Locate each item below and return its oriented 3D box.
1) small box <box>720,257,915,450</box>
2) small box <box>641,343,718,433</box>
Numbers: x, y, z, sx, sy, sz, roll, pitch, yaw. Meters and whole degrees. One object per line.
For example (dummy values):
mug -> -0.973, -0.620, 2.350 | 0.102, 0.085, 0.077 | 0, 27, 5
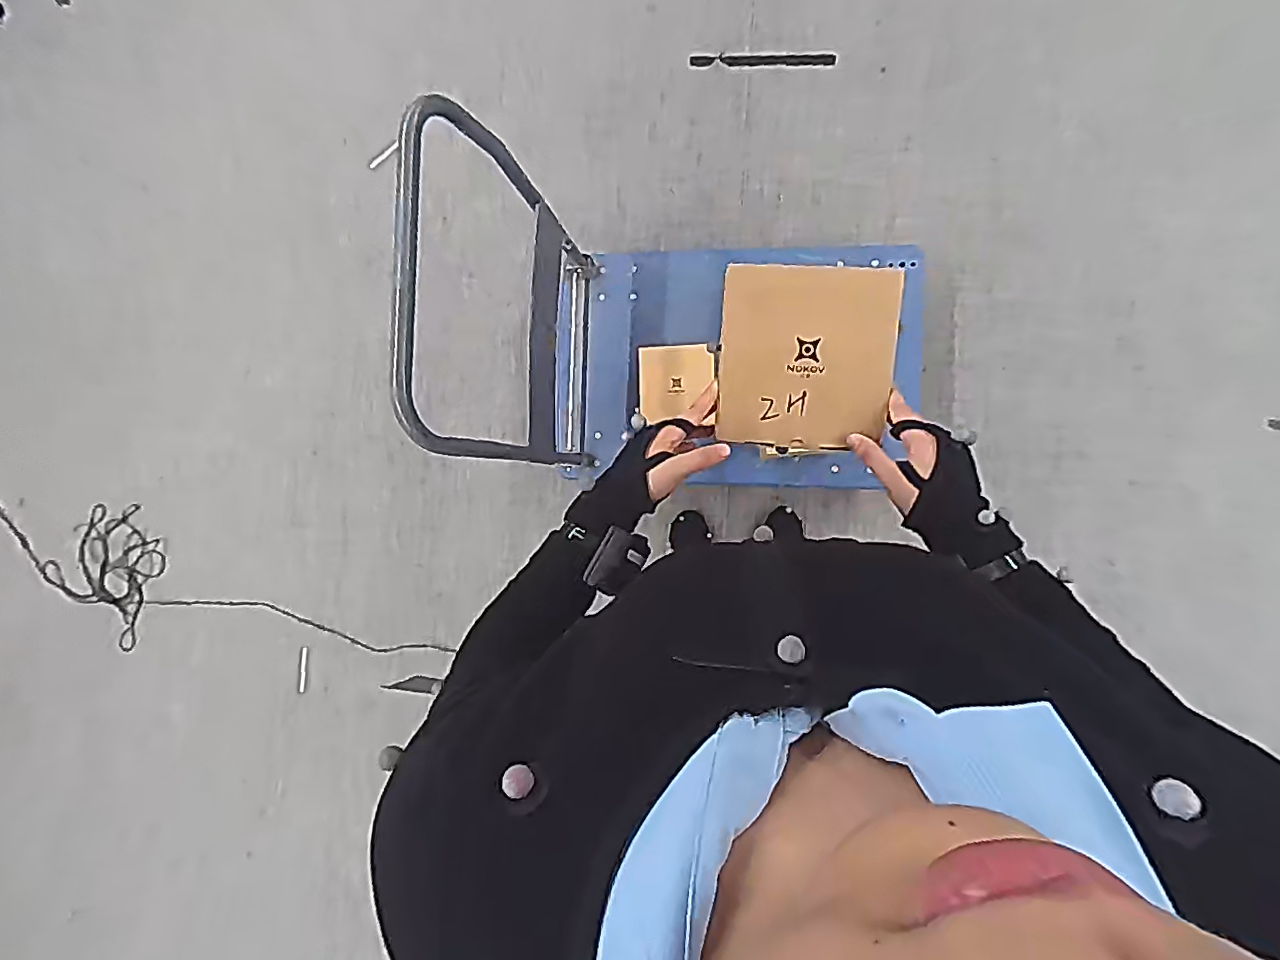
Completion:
small box -> 0.178, -0.131, 0.596 | 0.168, 0.176, 0.179 | 4, 99, 7
small box -> 0.093, -0.206, 1.251 | 0.168, 0.176, 0.179 | -2, 89, 7
